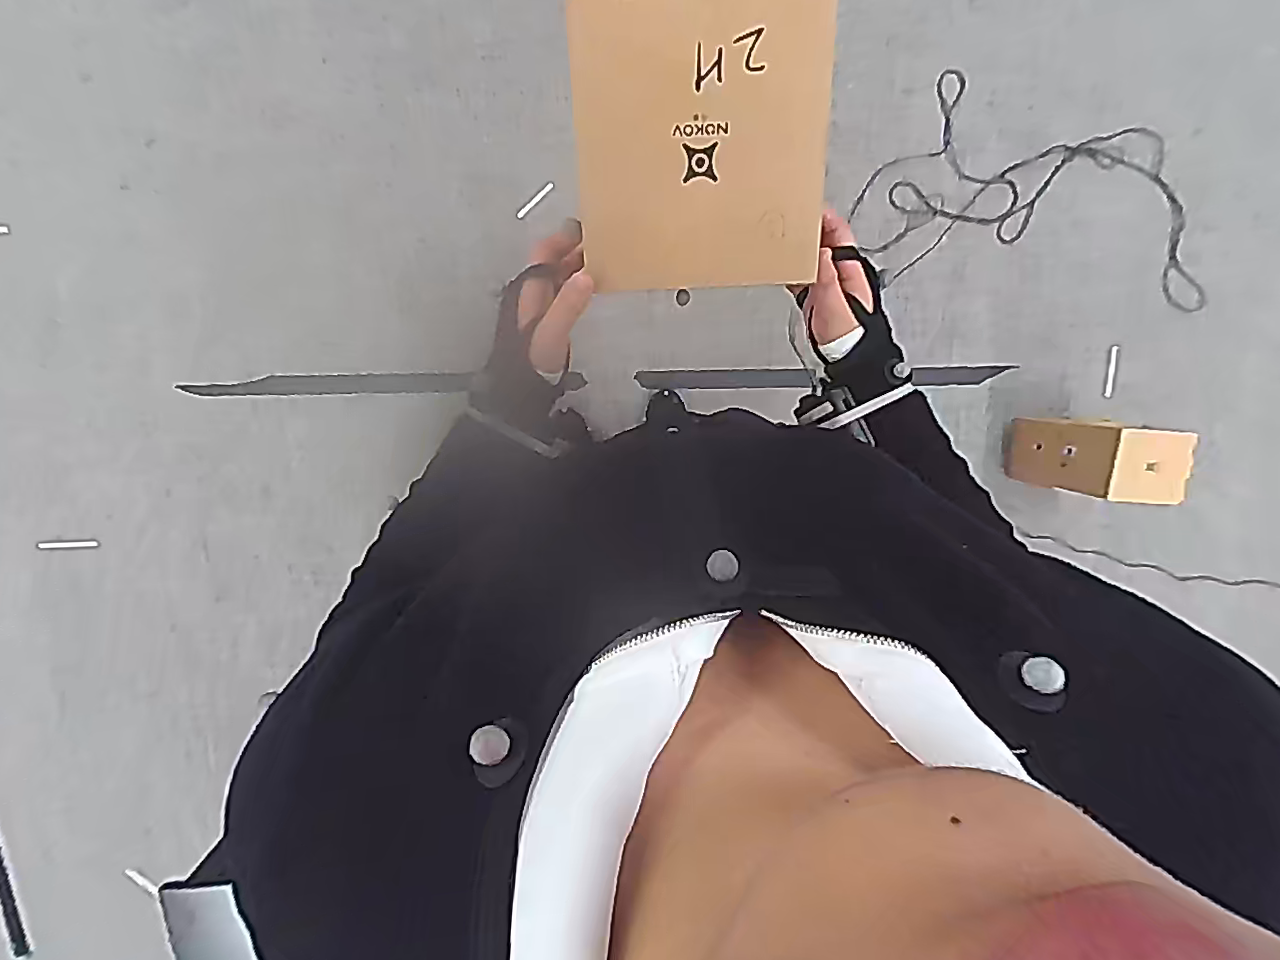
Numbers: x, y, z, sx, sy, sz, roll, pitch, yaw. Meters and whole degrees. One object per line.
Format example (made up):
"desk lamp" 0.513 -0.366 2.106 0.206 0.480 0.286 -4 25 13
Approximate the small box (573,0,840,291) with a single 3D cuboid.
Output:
"small box" 0.041 -0.248 0.431 0.168 0.176 0.179 -3 110 -1

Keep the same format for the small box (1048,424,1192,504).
"small box" 1.124 -0.043 1.280 0.179 0.176 0.168 3 99 -2

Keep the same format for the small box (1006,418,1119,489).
"small box" 1.115 -0.077 1.440 0.168 0.176 0.179 -2 100 -2
